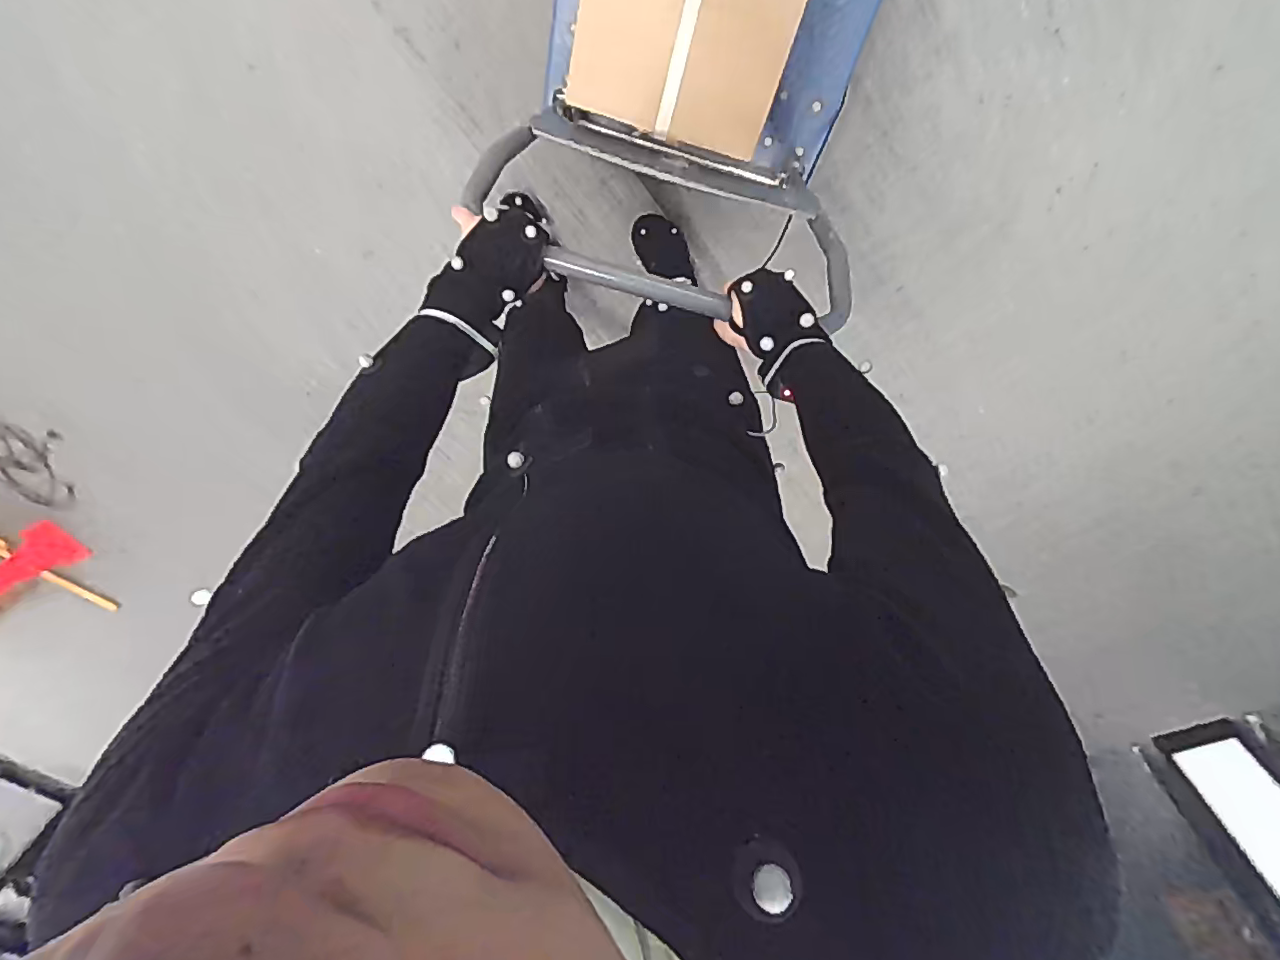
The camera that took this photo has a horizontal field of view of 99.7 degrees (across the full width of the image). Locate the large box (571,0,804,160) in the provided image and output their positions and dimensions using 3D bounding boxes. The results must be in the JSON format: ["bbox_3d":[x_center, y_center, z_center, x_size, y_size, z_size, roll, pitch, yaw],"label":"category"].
[{"bbox_3d":[0.095,-0.801,0.884,0.320,0.320,0.408,15,126,-6],"label":"large box"}]
